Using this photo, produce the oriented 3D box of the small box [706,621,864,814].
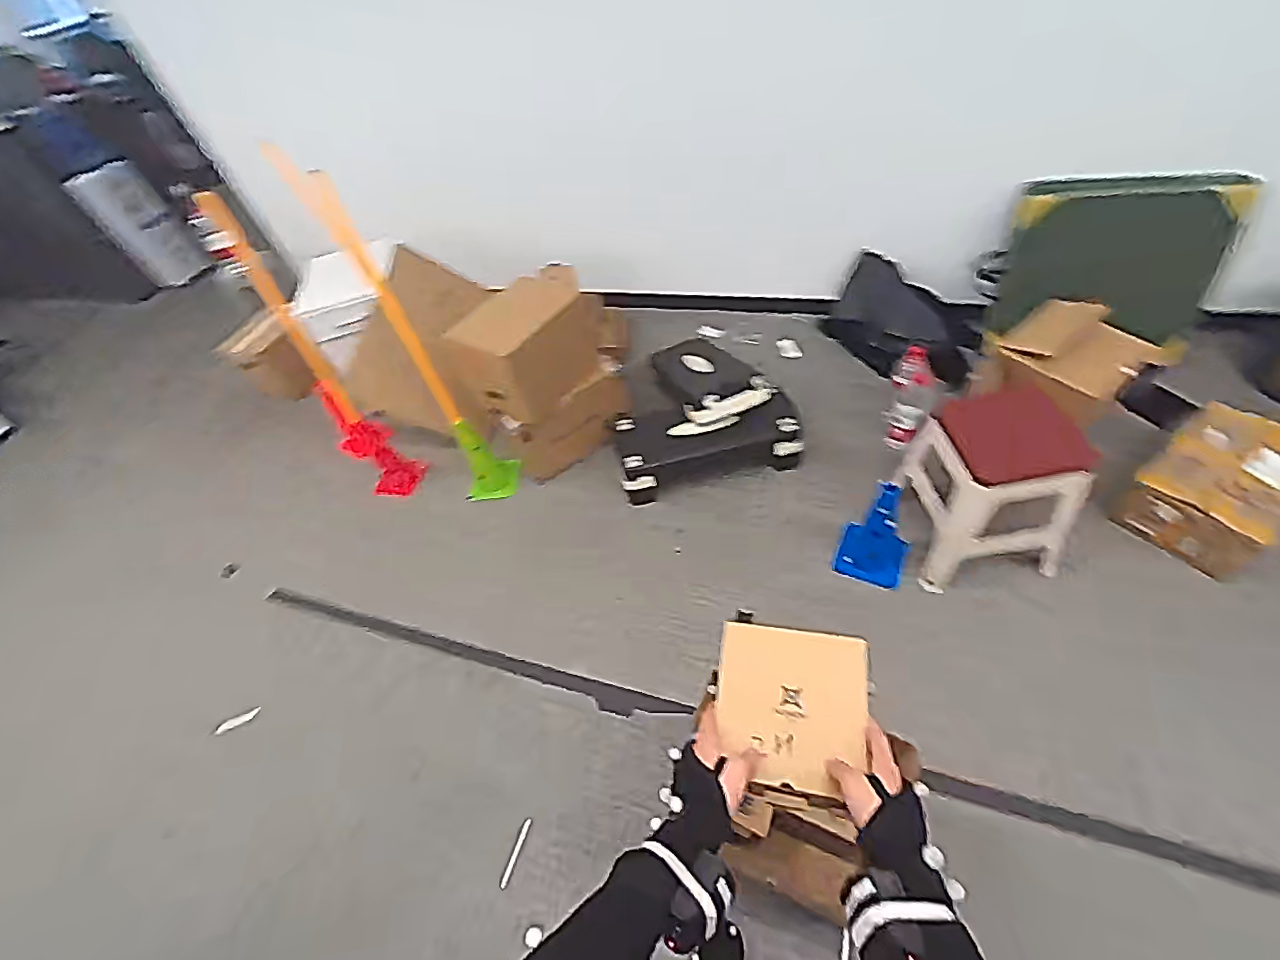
[{"bbox_3d":[0.180,0.298,0.675,0.168,0.176,0.179,4,58,15],"label":"small box"}]
